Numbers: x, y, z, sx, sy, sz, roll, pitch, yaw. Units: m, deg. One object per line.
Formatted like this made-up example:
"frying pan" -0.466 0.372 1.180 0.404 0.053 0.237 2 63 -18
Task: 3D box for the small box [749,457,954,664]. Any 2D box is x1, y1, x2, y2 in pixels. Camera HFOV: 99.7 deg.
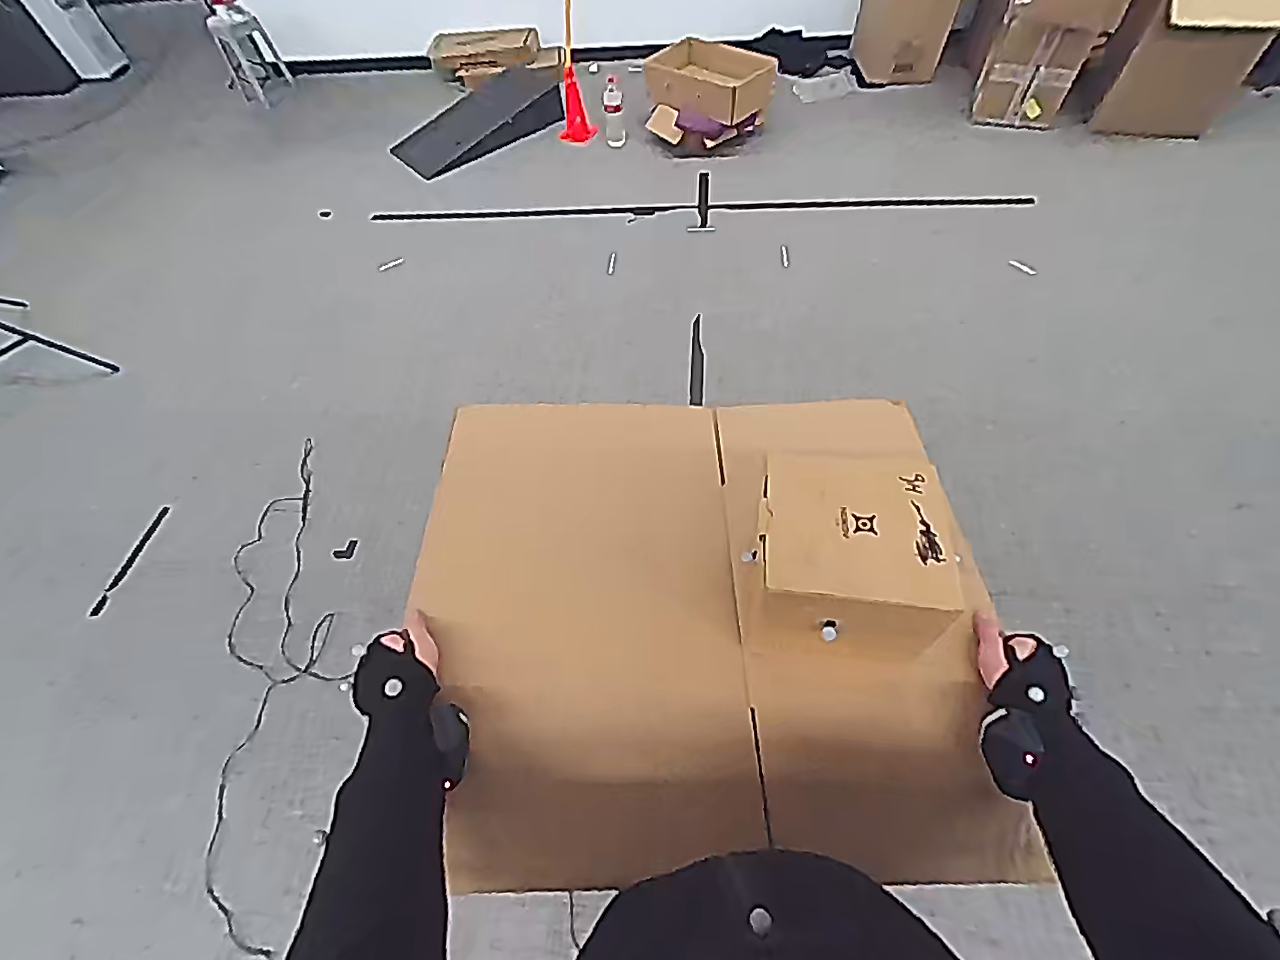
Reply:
"small box" 0.216 0.093 0.605 0.179 0.176 0.168 4 54 9
